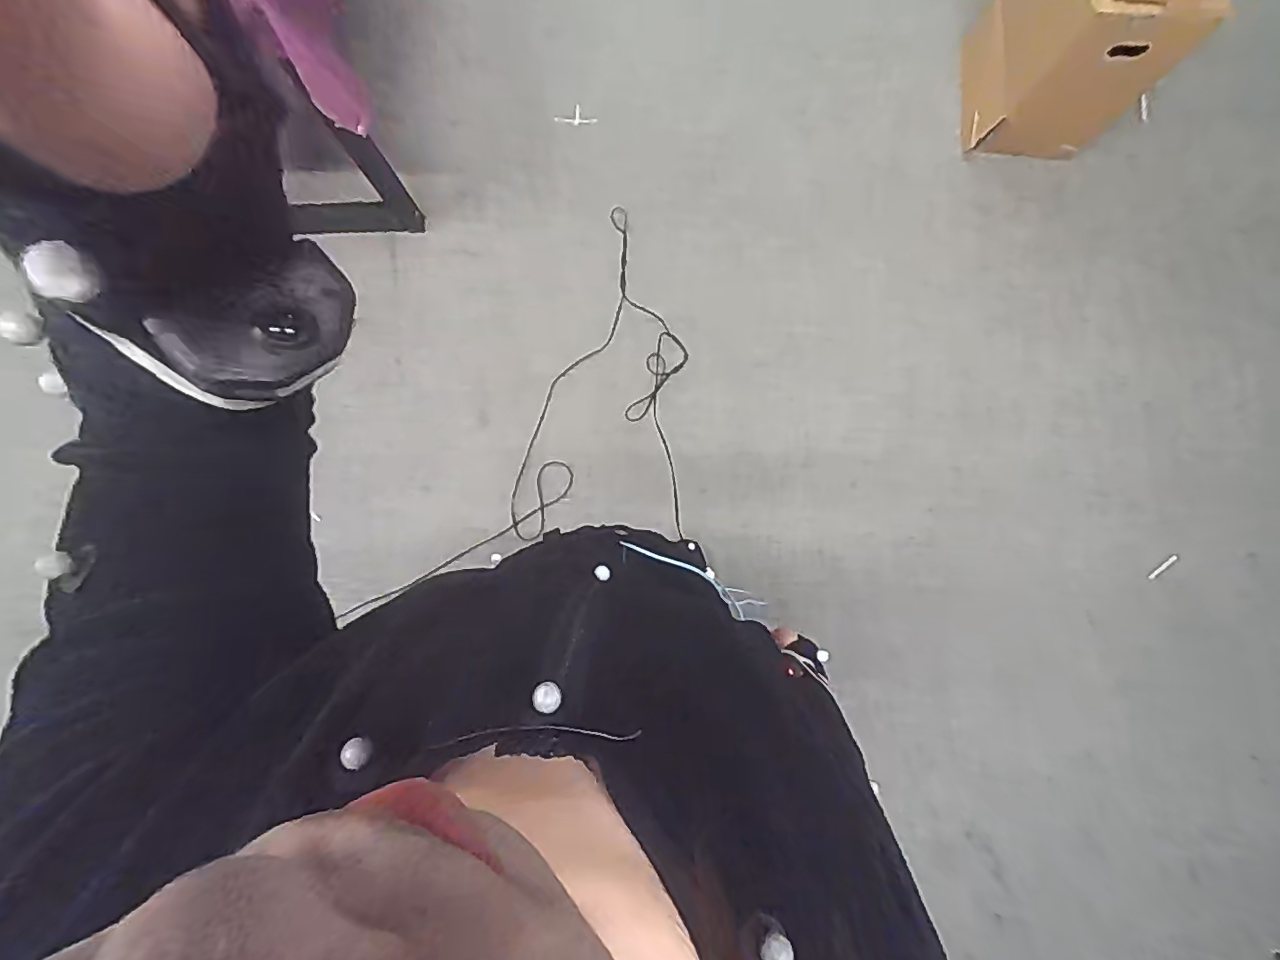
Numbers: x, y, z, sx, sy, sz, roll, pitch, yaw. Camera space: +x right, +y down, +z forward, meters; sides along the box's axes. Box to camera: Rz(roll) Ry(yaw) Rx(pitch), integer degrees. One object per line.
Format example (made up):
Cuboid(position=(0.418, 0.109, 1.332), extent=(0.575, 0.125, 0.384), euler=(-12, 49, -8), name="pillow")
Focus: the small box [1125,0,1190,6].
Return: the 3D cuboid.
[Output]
Cuboid(position=(1.127, -1.137, 1.122), extent=(0.179, 0.176, 0.168), euler=(6, 82, 0), name="small box")
